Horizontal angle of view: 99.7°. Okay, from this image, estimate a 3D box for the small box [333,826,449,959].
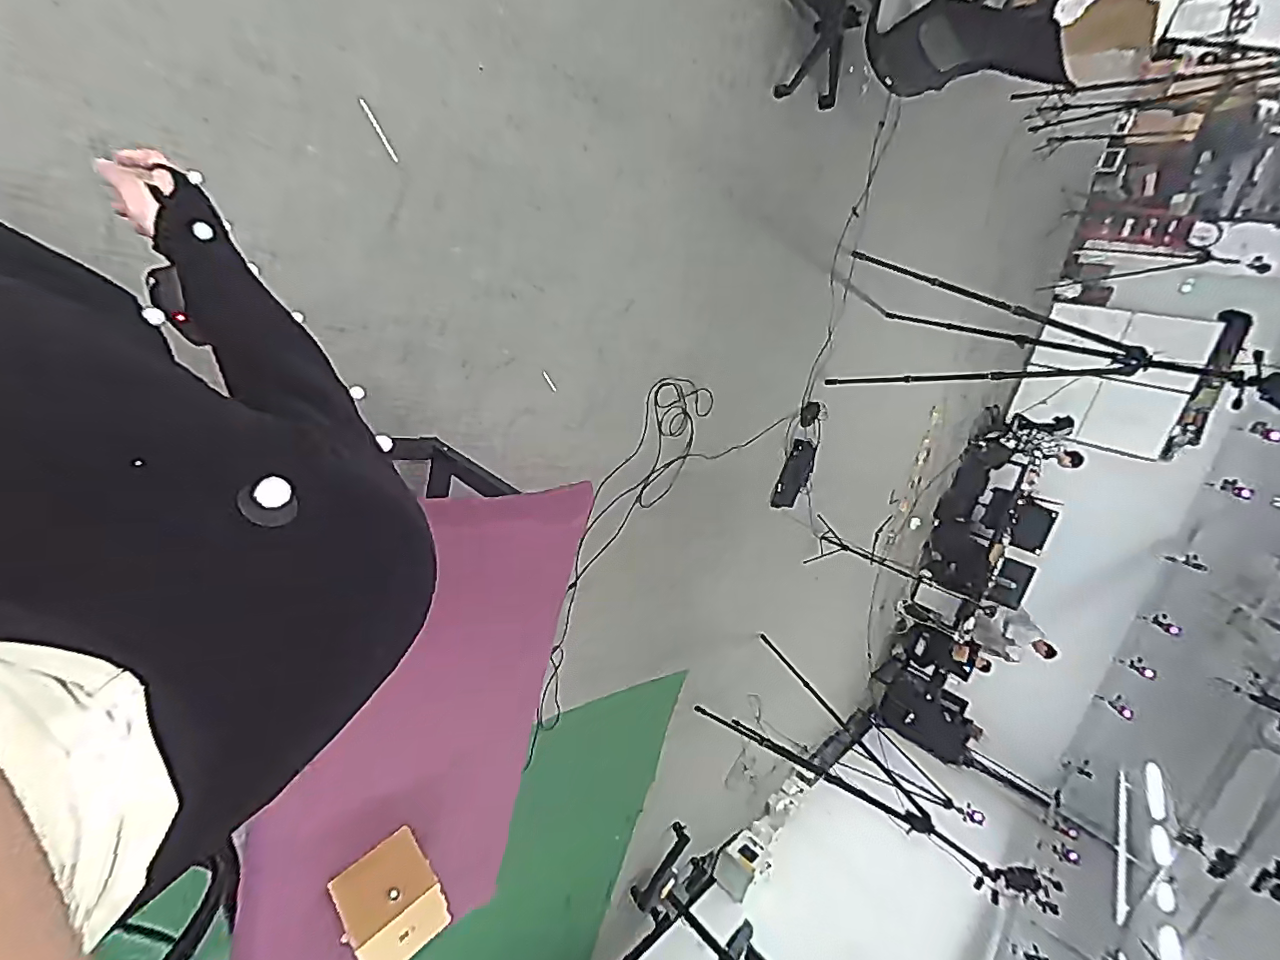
[{"bbox_3d":[-0.551,0.923,1.190,0.179,0.176,0.168,-25,127,-38],"label":"small box"}]
